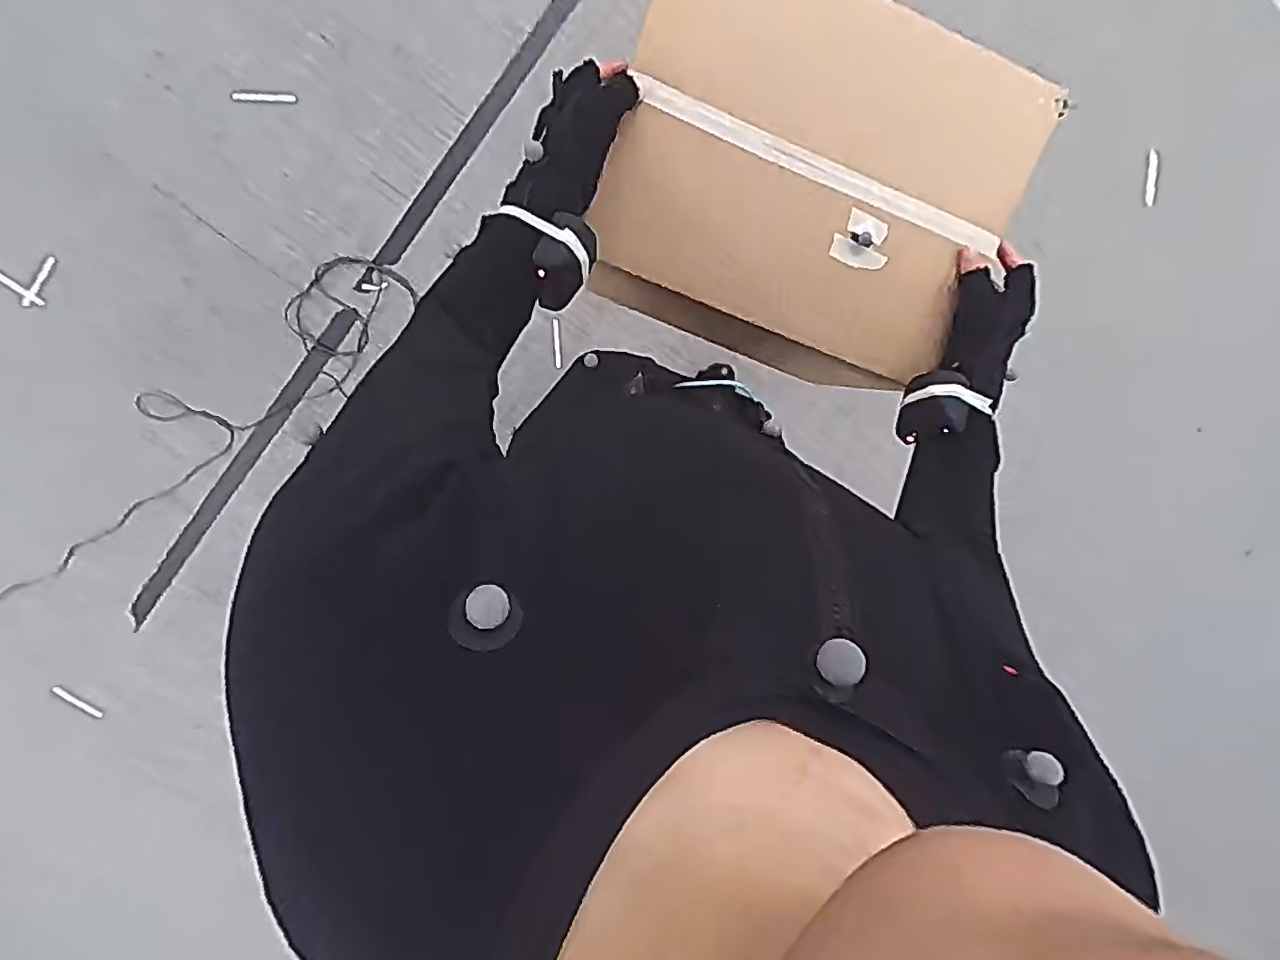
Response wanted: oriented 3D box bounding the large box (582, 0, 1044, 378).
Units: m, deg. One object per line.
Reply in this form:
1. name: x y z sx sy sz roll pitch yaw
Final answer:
1. large box: 0.162 -0.344 0.689 0.408 0.320 0.320 19 101 -9
